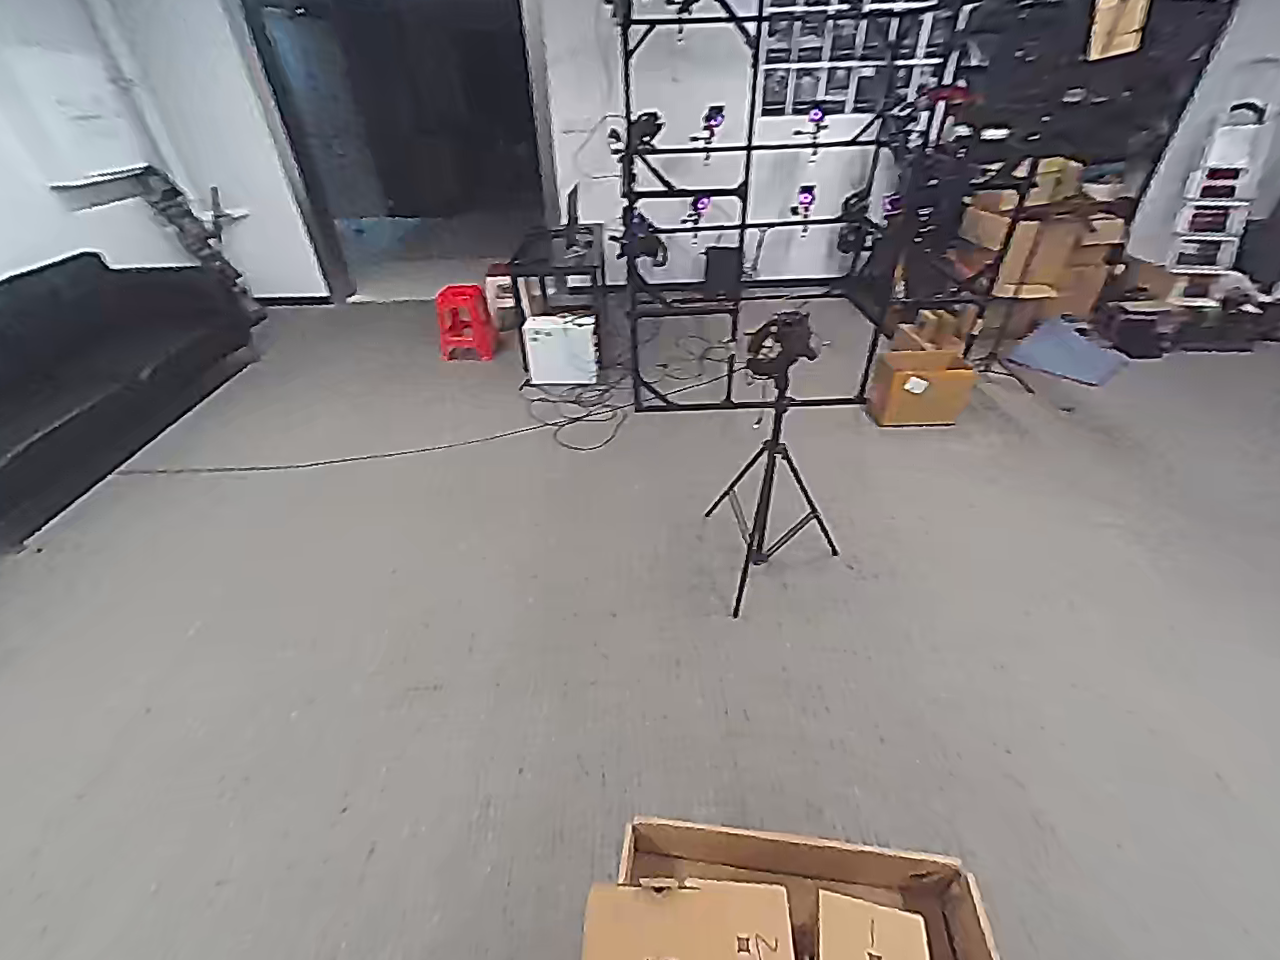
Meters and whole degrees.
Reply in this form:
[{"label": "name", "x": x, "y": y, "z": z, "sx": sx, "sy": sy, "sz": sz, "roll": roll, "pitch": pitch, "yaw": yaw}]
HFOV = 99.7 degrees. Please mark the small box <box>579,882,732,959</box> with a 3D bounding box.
[{"label": "small box", "x": 0.011, "y": 0.590, "z": 0.602, "sx": 0.168, "sy": 0.176, "sz": 0.179, "roll": 4, "pitch": 31, "yaw": -3}]
